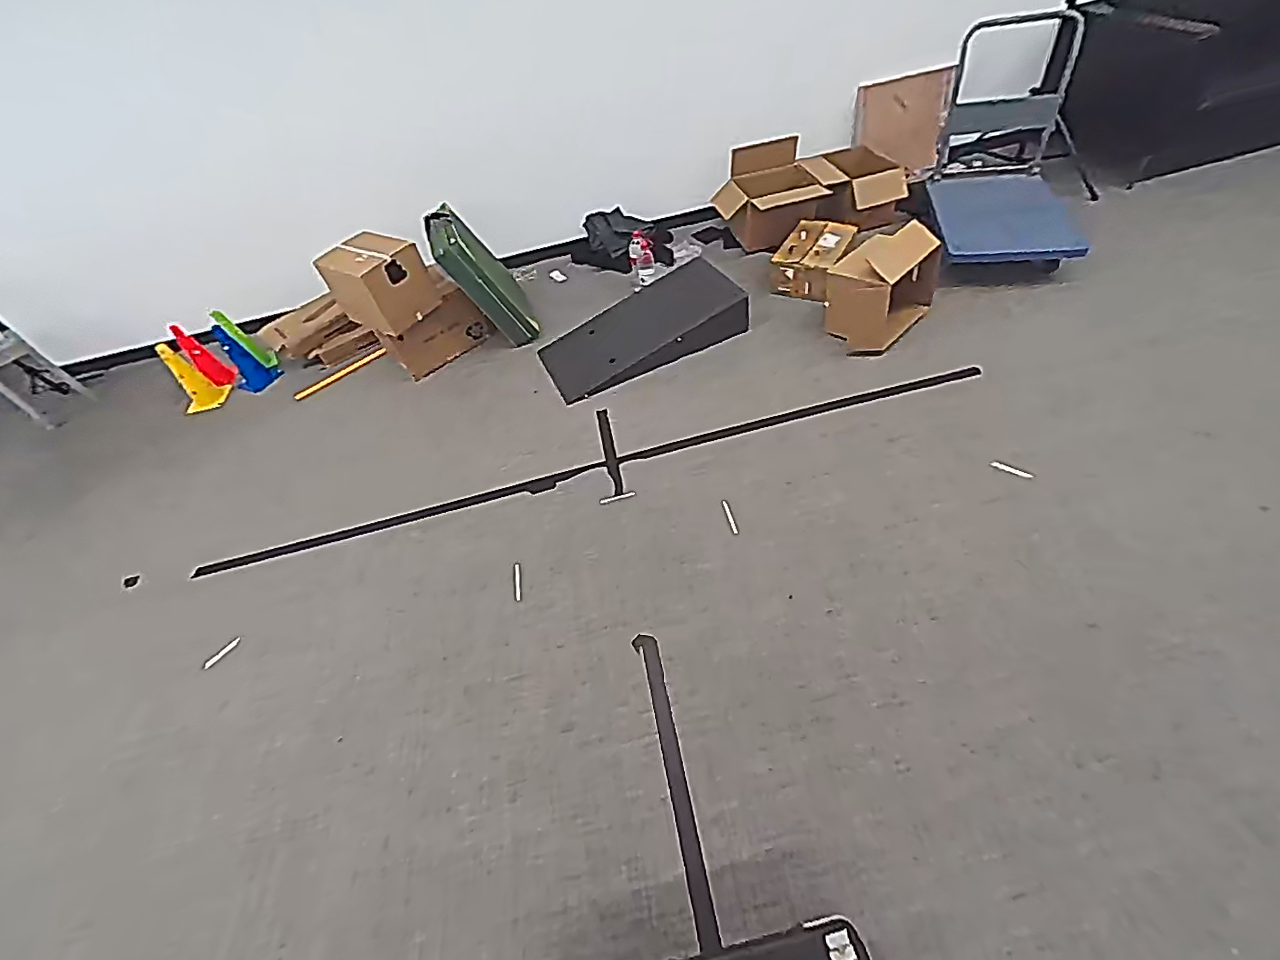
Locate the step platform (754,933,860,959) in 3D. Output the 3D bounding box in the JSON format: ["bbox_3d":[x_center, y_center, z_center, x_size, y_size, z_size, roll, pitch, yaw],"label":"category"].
[{"bbox_3d":[0.148,1.137,1.040,0.684,0.204,0.286,-14,49,-2],"label":"step platform"}]
